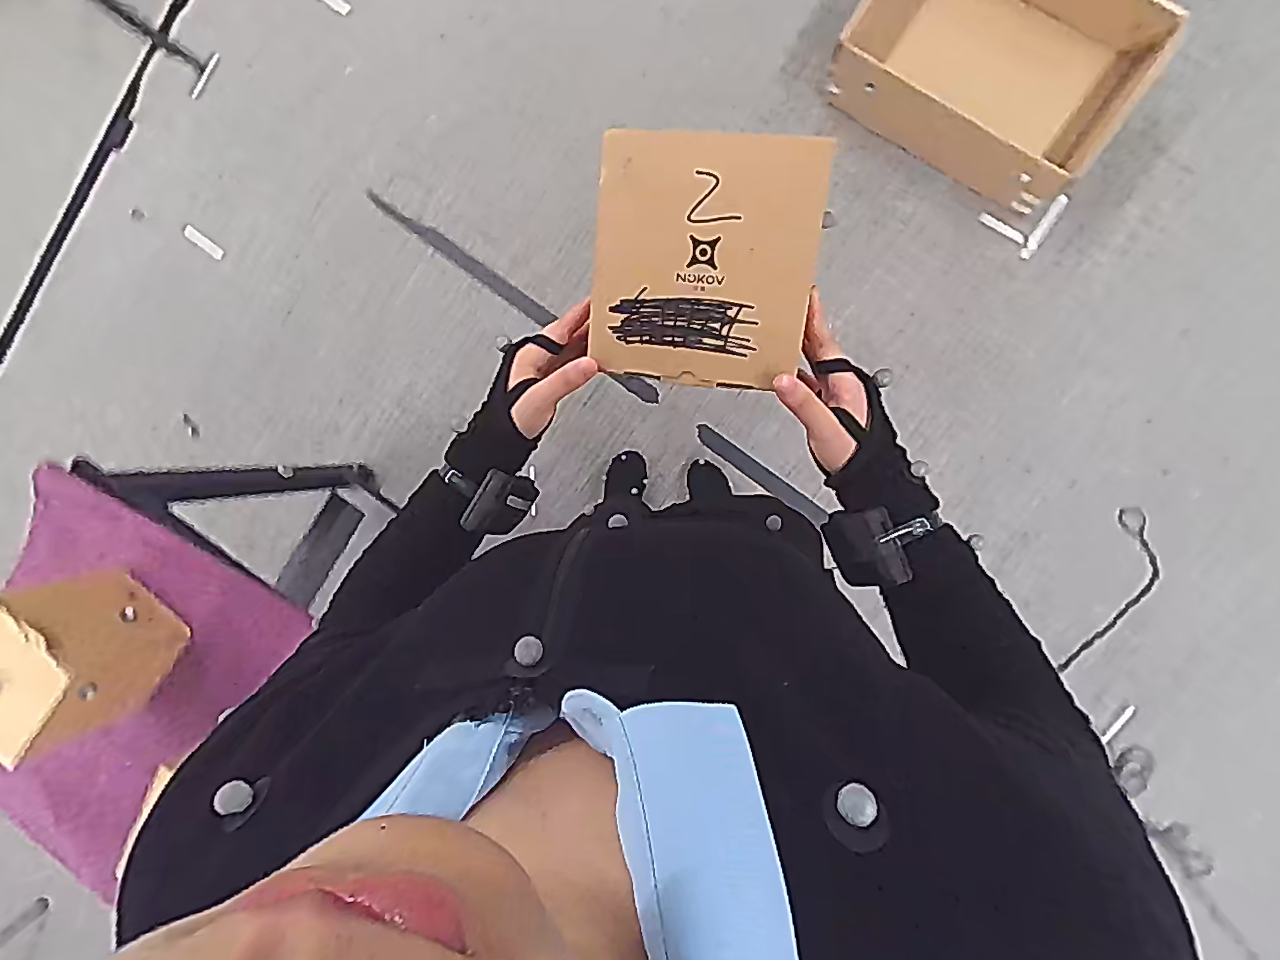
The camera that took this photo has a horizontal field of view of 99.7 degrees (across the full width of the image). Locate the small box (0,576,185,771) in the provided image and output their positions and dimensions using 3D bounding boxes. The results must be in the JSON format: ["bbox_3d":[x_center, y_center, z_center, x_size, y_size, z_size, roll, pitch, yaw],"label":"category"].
[{"bbox_3d":[-0.833,0.269,0.792,0.168,0.176,0.179,39,97,4],"label":"small box"}]

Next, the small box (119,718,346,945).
[{"bbox_3d":[-0.558,0.477,0.766,0.168,0.176,0.179,26,95,6],"label":"small box"}]
